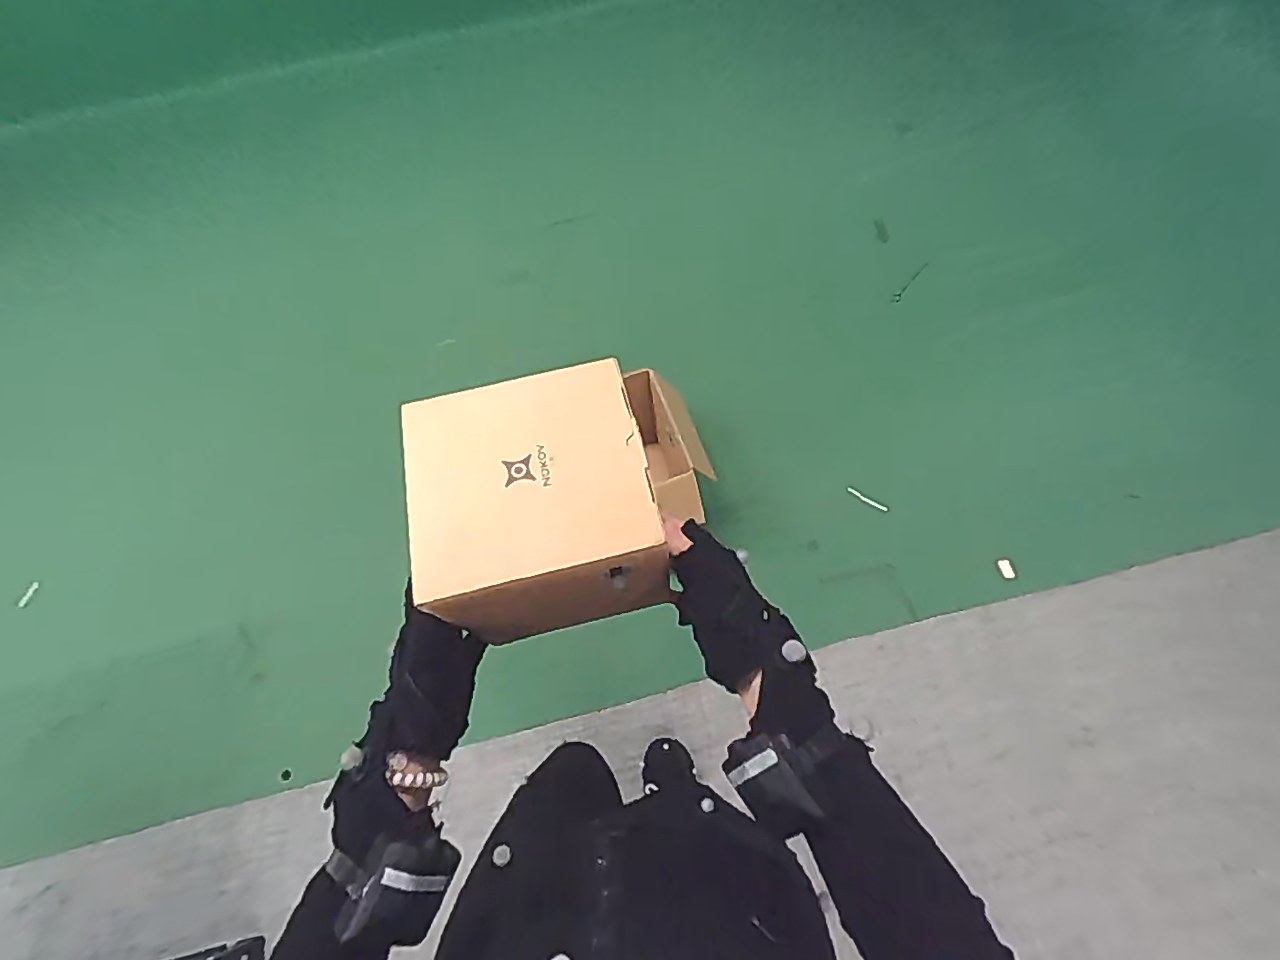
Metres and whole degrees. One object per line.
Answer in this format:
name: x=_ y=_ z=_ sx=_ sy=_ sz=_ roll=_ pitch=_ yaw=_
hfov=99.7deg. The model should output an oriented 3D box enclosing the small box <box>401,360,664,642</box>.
small box: x=-0.082 y=0.029 z=0.466 sx=0.179 sy=0.176 sz=0.168 roll=-14 pitch=64 yaw=-4
